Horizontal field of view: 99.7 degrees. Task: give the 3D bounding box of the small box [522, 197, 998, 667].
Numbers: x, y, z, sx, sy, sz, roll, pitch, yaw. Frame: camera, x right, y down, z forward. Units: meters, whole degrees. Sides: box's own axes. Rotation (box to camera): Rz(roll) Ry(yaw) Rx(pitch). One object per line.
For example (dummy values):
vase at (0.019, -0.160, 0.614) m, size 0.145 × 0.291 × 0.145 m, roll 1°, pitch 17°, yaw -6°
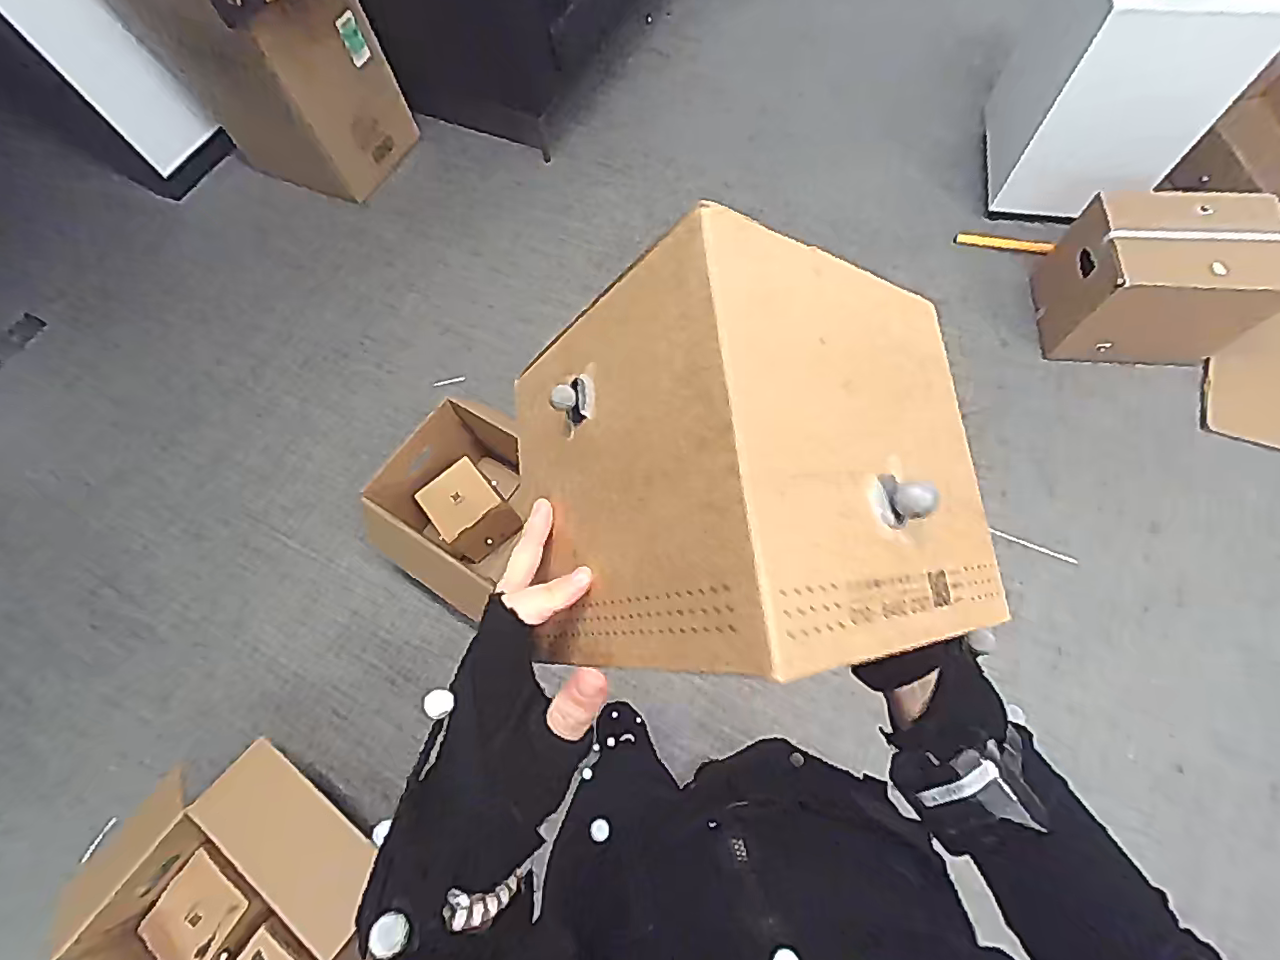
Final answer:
small box at (0.049, 0.001, 0.288) m, size 0.168 × 0.179 × 0.176 m, roll 2°, pitch 76°, yaw -36°
